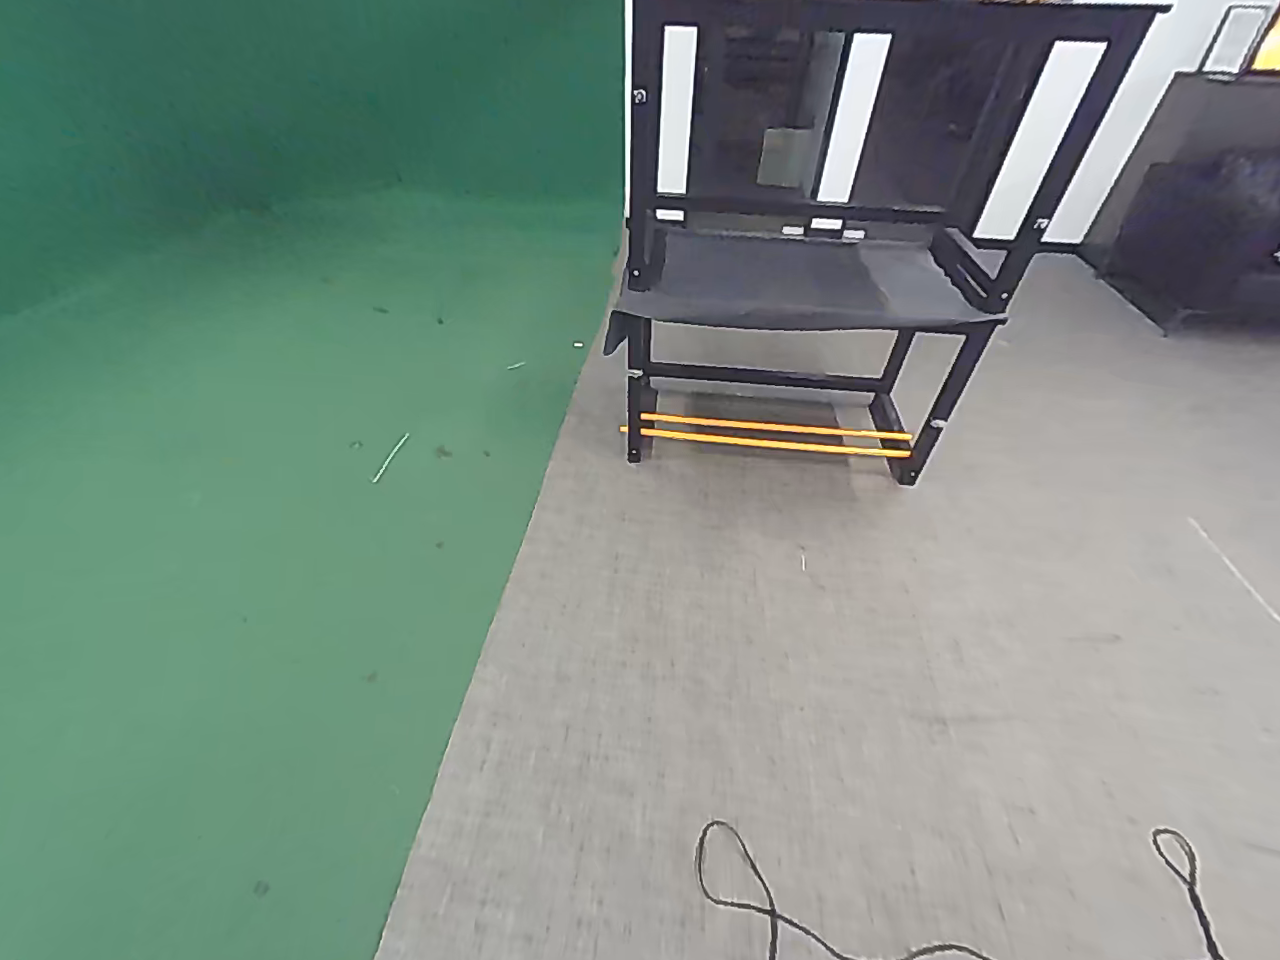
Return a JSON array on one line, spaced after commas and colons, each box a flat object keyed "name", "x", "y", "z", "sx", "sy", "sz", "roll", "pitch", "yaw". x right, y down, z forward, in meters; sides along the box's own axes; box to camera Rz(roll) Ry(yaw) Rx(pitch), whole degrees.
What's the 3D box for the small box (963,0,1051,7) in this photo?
[{"name": "small box", "x": 0.872, "y": -1.199, "z": 1.239, "sx": 0.168, "sy": 0.176, "sz": 0.179, "roll": 11, "pitch": 44, "yaw": 10}]
